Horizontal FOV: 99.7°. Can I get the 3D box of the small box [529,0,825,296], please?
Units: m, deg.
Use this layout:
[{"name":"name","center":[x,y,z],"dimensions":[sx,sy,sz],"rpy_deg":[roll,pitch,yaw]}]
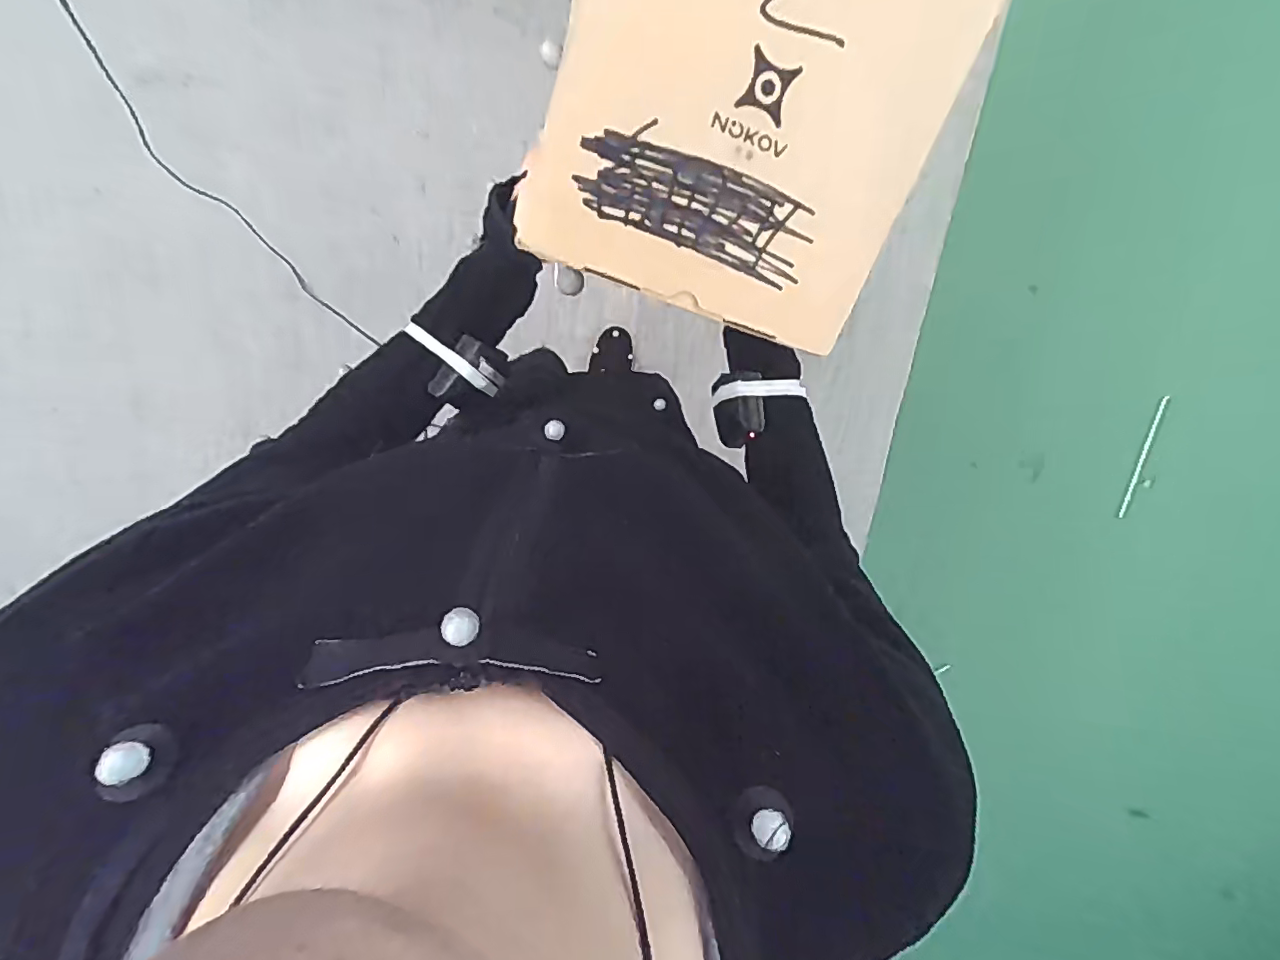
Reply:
[{"name":"small box","center":[0.013,-0.265,0.447],"dimensions":[0.179,0.176,0.168],"rpy_deg":[9,116,-12]}]
